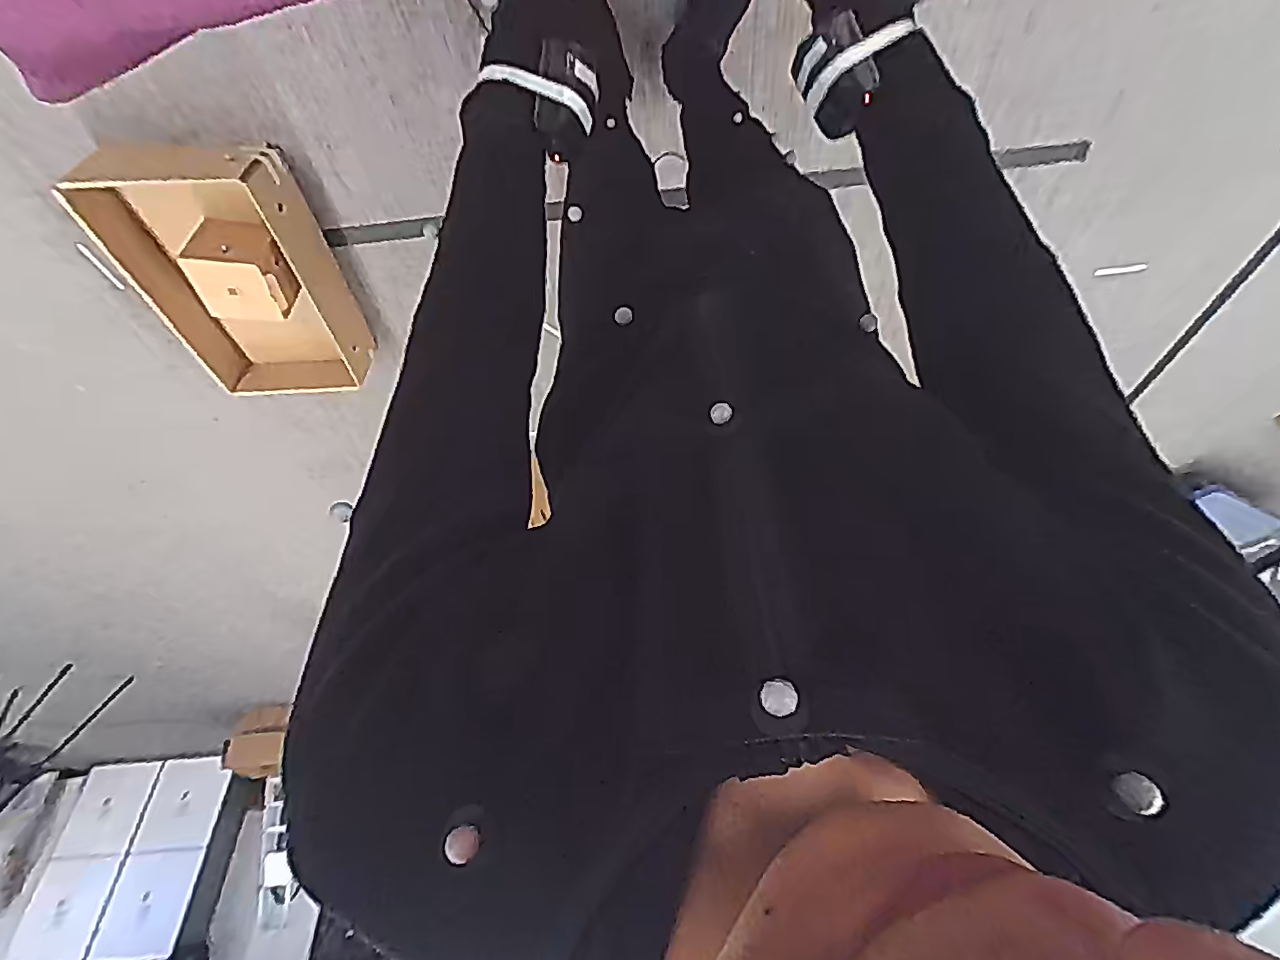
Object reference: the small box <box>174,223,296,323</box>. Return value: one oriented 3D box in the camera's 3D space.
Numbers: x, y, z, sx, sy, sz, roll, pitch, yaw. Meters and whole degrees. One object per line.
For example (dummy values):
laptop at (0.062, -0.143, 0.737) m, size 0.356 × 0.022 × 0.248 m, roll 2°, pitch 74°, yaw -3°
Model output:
small box at (-0.984, -0.512, 1.338) m, size 0.179 × 0.176 × 0.168 m, roll 2°, pitch 144°, yaw -9°
